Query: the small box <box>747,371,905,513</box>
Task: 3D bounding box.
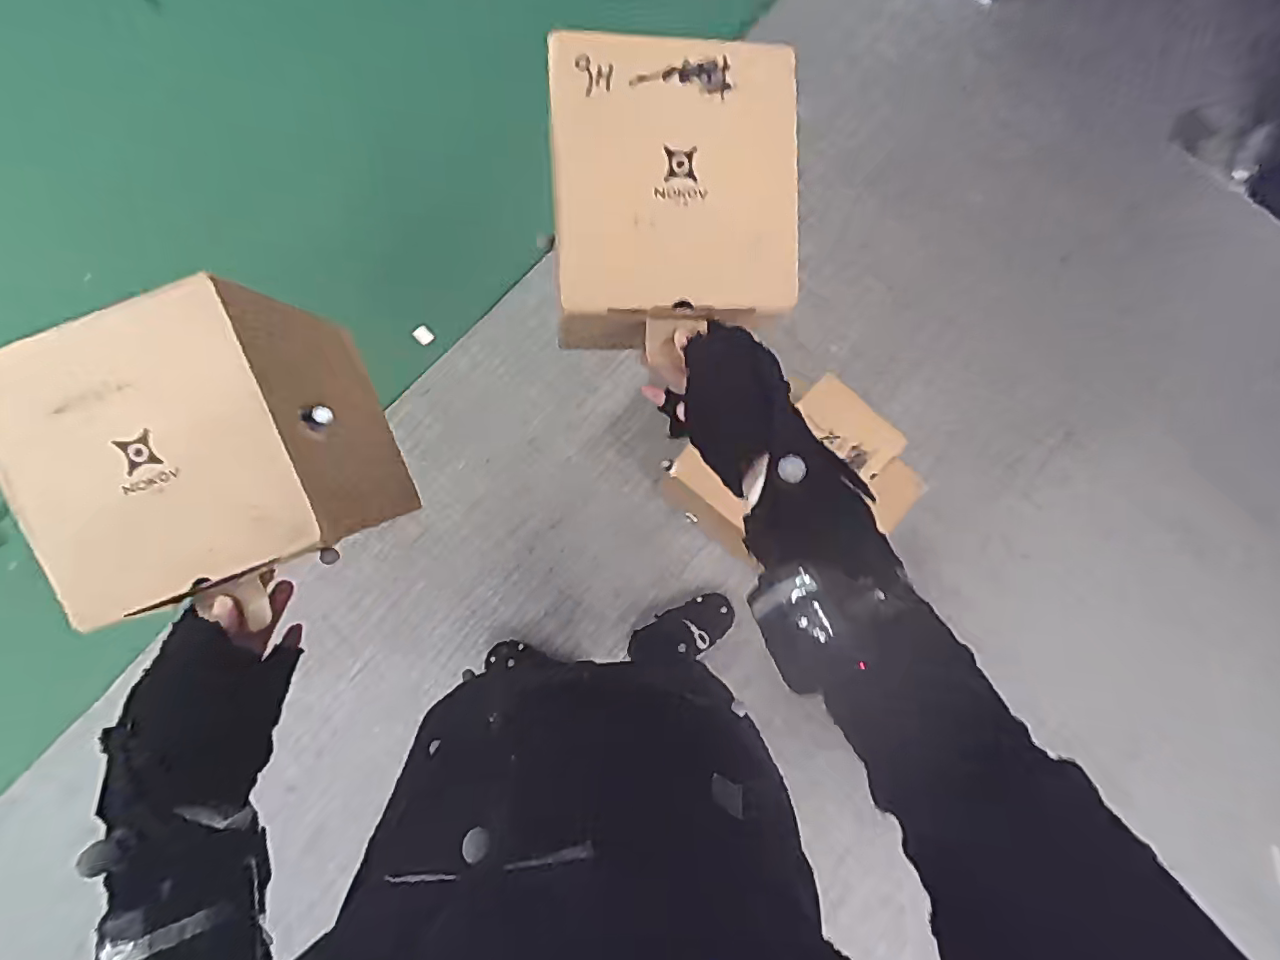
[{"bbox_3d":[0.317,-0.058,0.958,0.168,0.176,0.179,-43,86,-4],"label":"small box"}]
